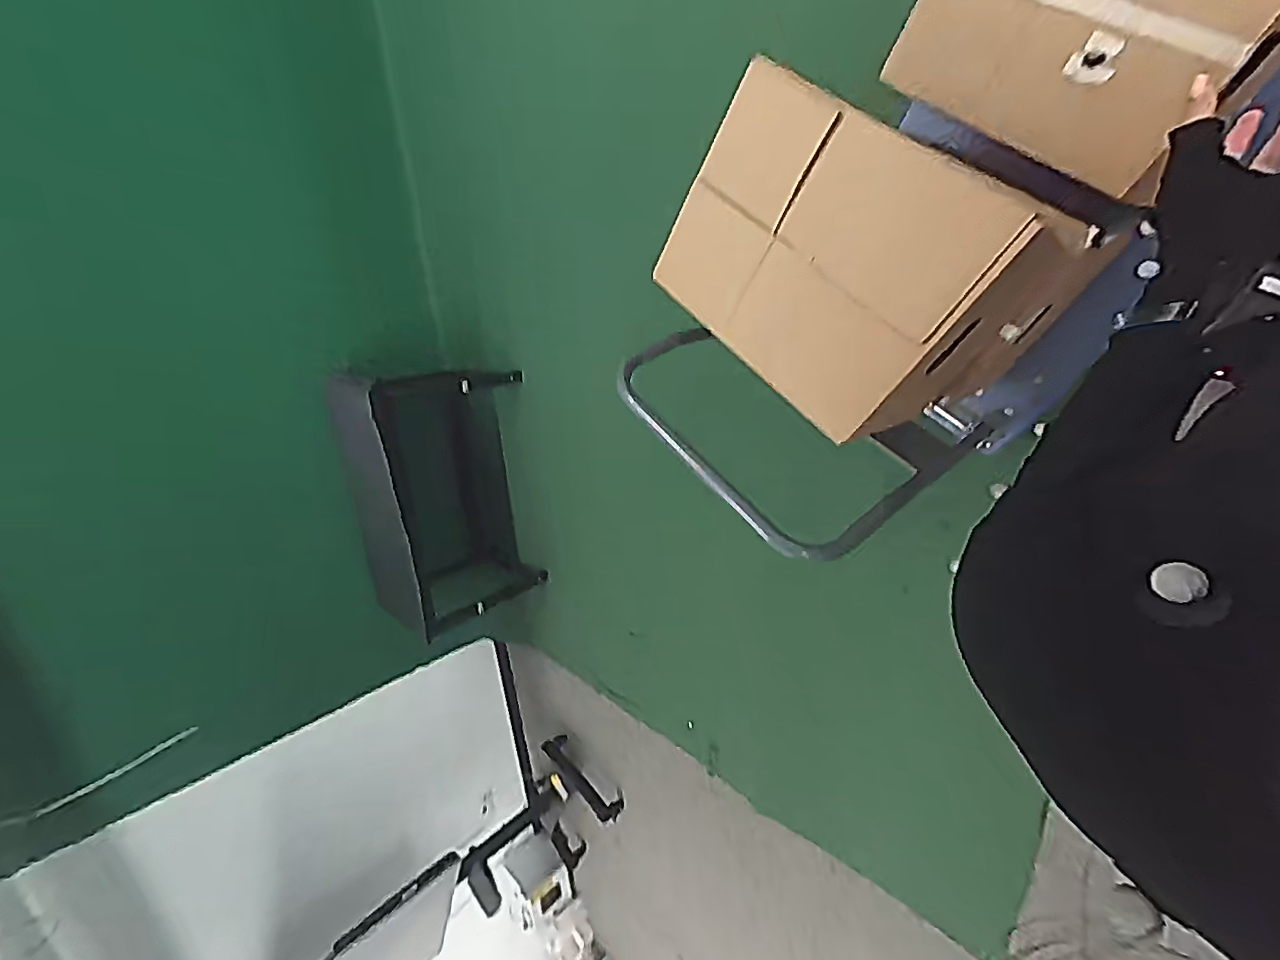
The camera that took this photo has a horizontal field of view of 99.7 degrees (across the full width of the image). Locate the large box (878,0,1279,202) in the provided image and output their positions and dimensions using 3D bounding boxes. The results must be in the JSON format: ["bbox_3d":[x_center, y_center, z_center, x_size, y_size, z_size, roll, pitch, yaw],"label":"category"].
[{"bbox_3d":[0.654,-0.654,0.782,0.408,0.320,0.320,47,136,23],"label":"large box"}]
